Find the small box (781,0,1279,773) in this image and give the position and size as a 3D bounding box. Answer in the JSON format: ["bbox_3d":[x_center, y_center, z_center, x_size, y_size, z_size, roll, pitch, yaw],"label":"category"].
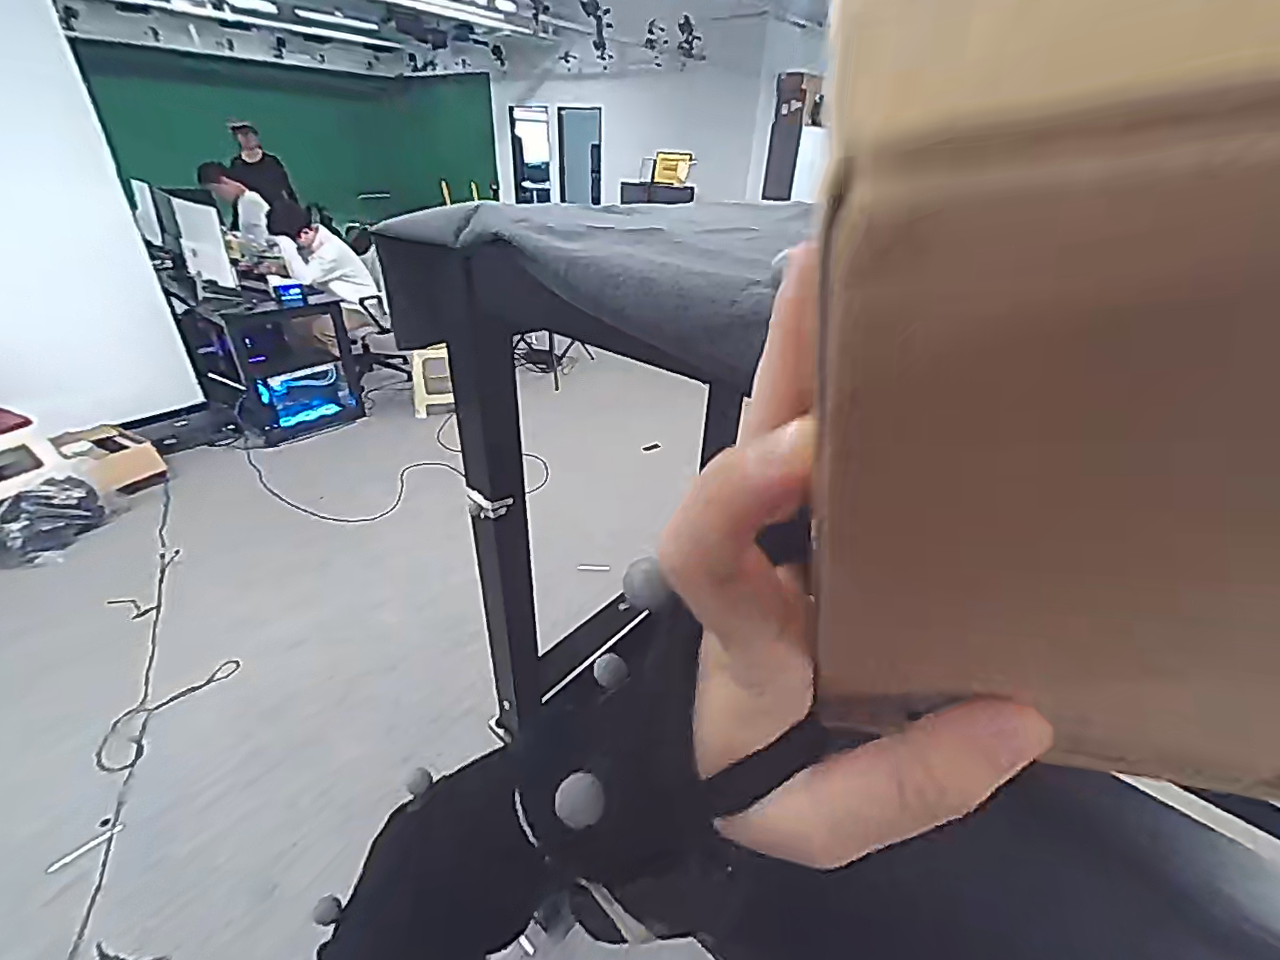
[{"bbox_3d":[0.126,-0.042,0.122,0.168,0.176,0.179,2,55,19],"label":"small box"}]
